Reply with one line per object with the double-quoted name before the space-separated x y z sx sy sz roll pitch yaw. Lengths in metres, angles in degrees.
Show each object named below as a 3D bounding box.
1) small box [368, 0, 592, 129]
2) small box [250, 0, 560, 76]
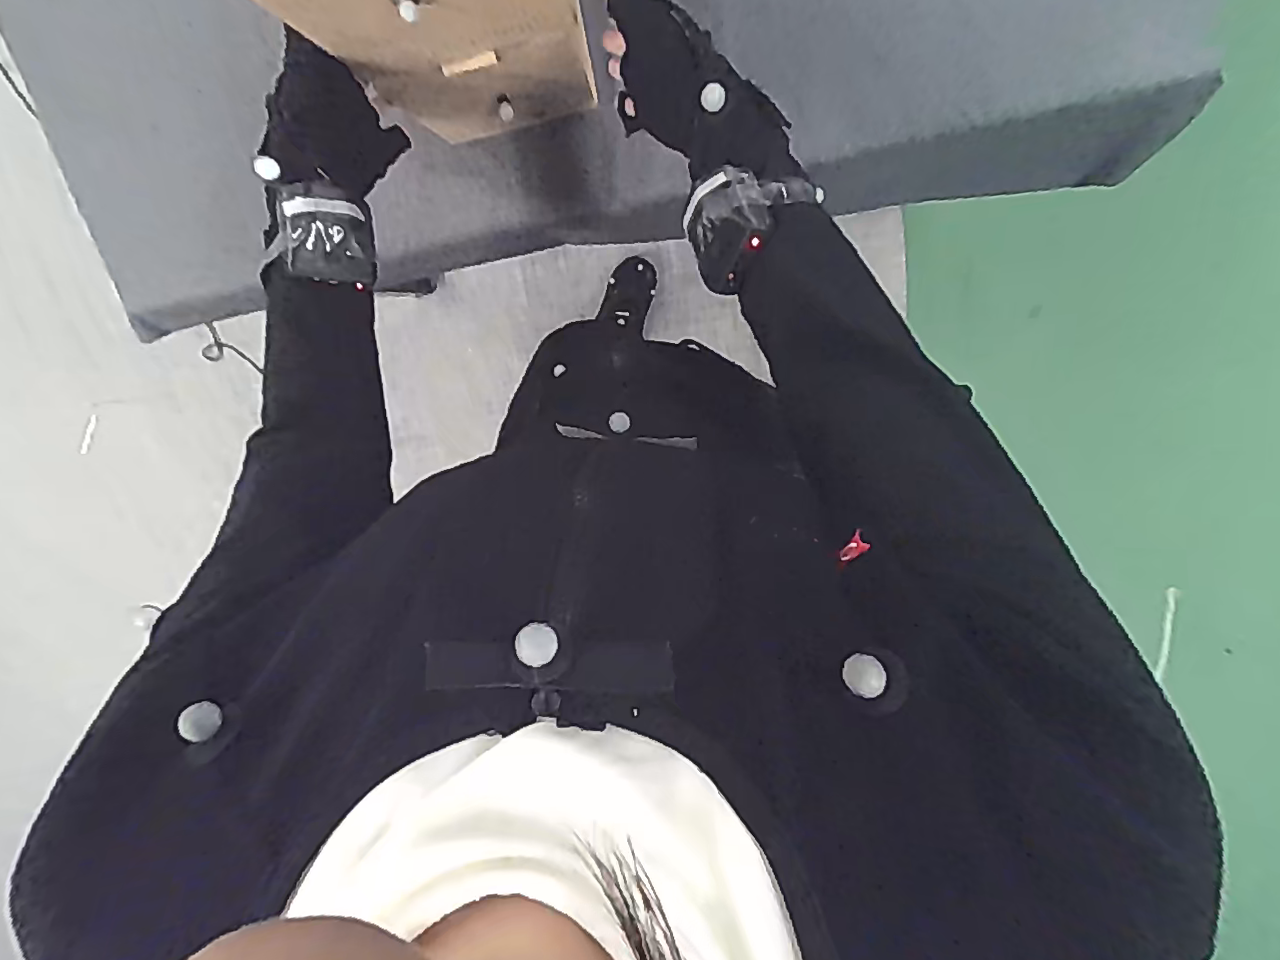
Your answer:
"small box" -0.147 -0.433 0.473 0.168 0.176 0.179 -10 108 7
"small box" -0.151 -0.378 0.318 0.179 0.176 0.168 -8 108 8
